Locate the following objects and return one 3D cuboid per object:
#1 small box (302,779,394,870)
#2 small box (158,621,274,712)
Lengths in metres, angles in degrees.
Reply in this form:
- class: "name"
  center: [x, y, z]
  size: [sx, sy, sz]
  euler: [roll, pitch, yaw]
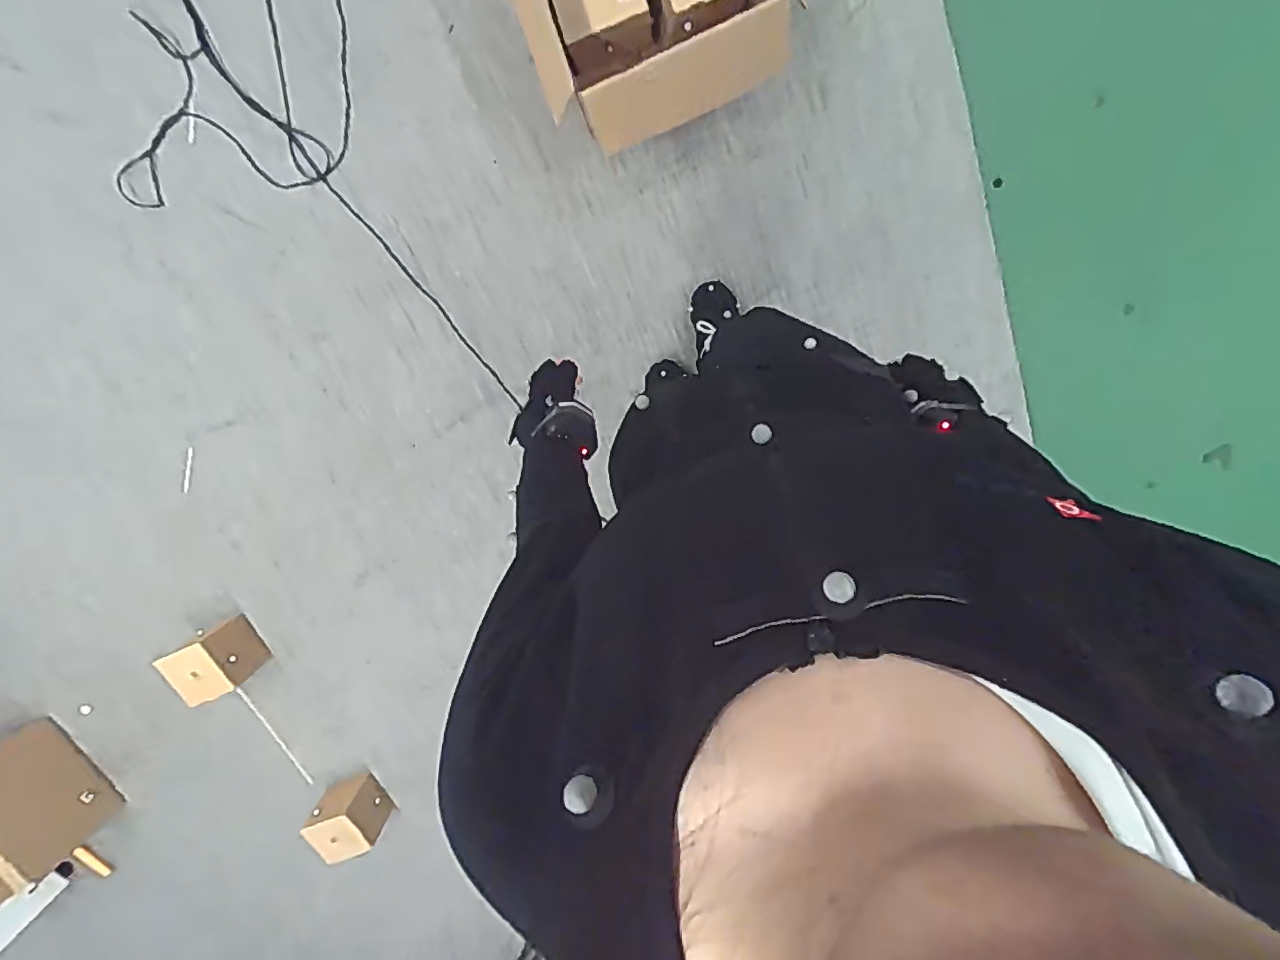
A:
- class: "small box"
  center: [-0.961, 1.138, 1.797]
  size: [0.179, 0.176, 0.168]
  euler: [-23, 106, 8]
- class: "small box"
  center: [-1.258, 0.547, 1.616]
  size: [0.168, 0.176, 0.179]
  euler: [-23, 106, 8]
